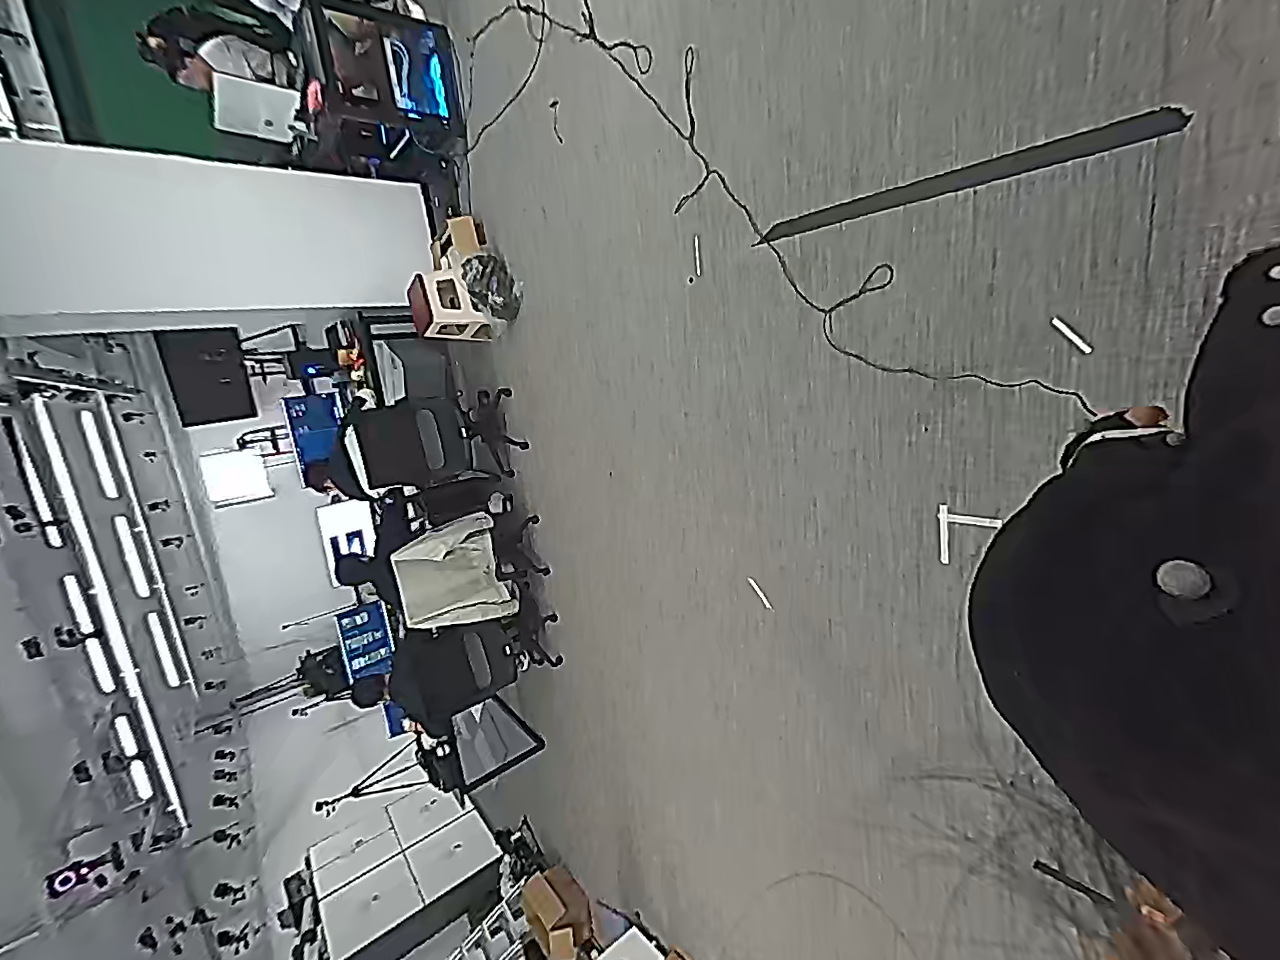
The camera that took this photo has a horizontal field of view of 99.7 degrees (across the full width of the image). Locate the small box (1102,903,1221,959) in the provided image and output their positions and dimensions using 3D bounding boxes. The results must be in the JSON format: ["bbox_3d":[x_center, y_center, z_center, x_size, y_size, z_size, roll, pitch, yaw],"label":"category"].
[{"bbox_3d":[1.097,1.058,1.136,0.168,0.176,0.179,7,109,54],"label":"small box"}]

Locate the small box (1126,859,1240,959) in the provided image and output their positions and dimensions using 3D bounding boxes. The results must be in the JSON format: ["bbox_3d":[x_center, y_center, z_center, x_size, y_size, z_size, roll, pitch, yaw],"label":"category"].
[{"bbox_3d":[1.226,1.023,1.228,0.168,0.176,0.179,8,109,53],"label":"small box"}]
